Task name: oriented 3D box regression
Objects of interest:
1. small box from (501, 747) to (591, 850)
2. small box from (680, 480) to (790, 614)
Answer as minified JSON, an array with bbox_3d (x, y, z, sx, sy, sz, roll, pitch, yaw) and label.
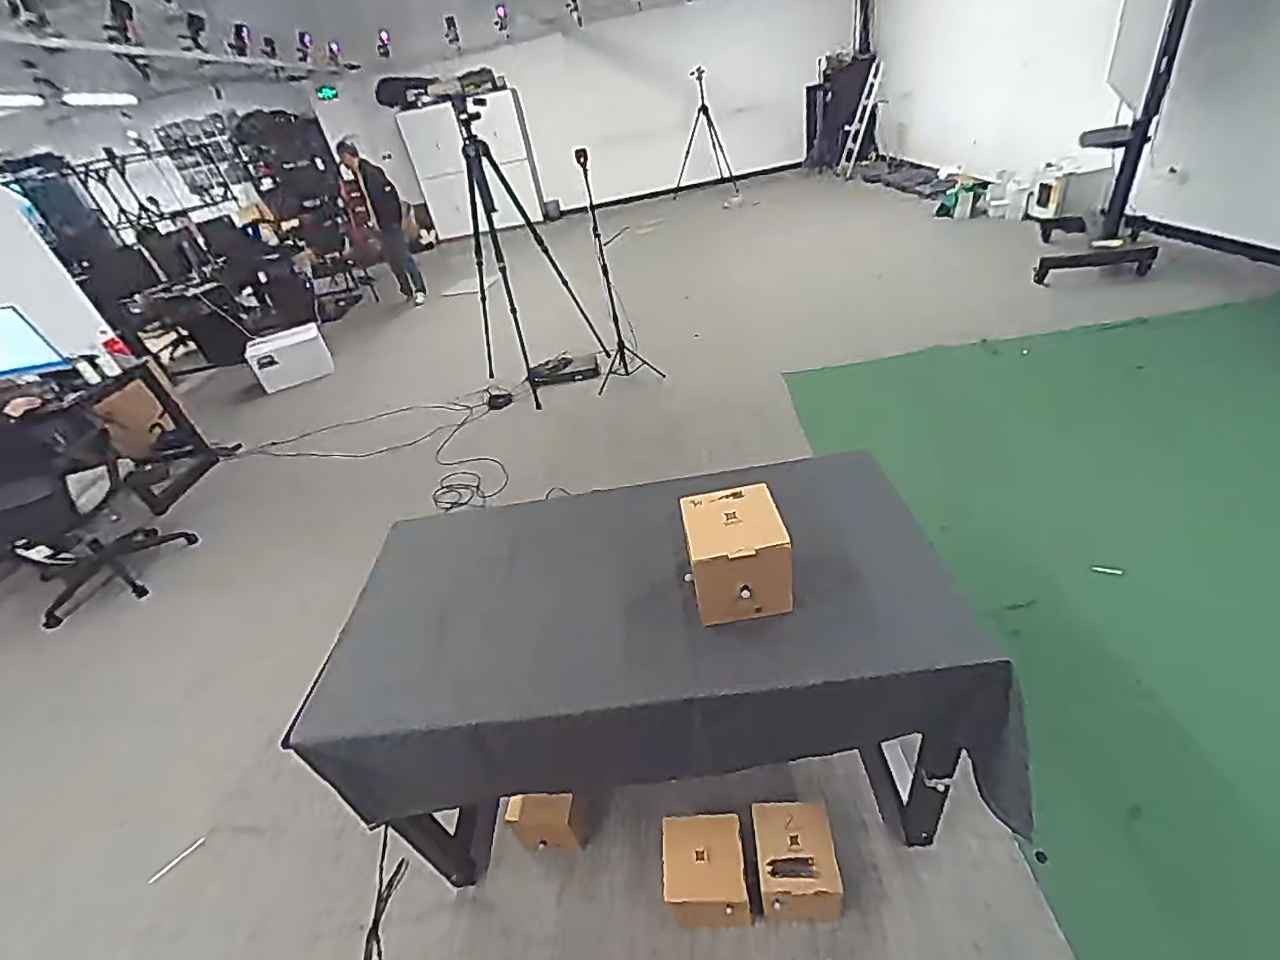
[{"bbox_3d":[-0.234,0.823,1.403,0.168,0.176,0.179,-5,35,12],"label":"small box"},{"bbox_3d":[0.174,0.127,0.991,0.168,0.176,0.179,-10,36,3],"label":"small box"}]
